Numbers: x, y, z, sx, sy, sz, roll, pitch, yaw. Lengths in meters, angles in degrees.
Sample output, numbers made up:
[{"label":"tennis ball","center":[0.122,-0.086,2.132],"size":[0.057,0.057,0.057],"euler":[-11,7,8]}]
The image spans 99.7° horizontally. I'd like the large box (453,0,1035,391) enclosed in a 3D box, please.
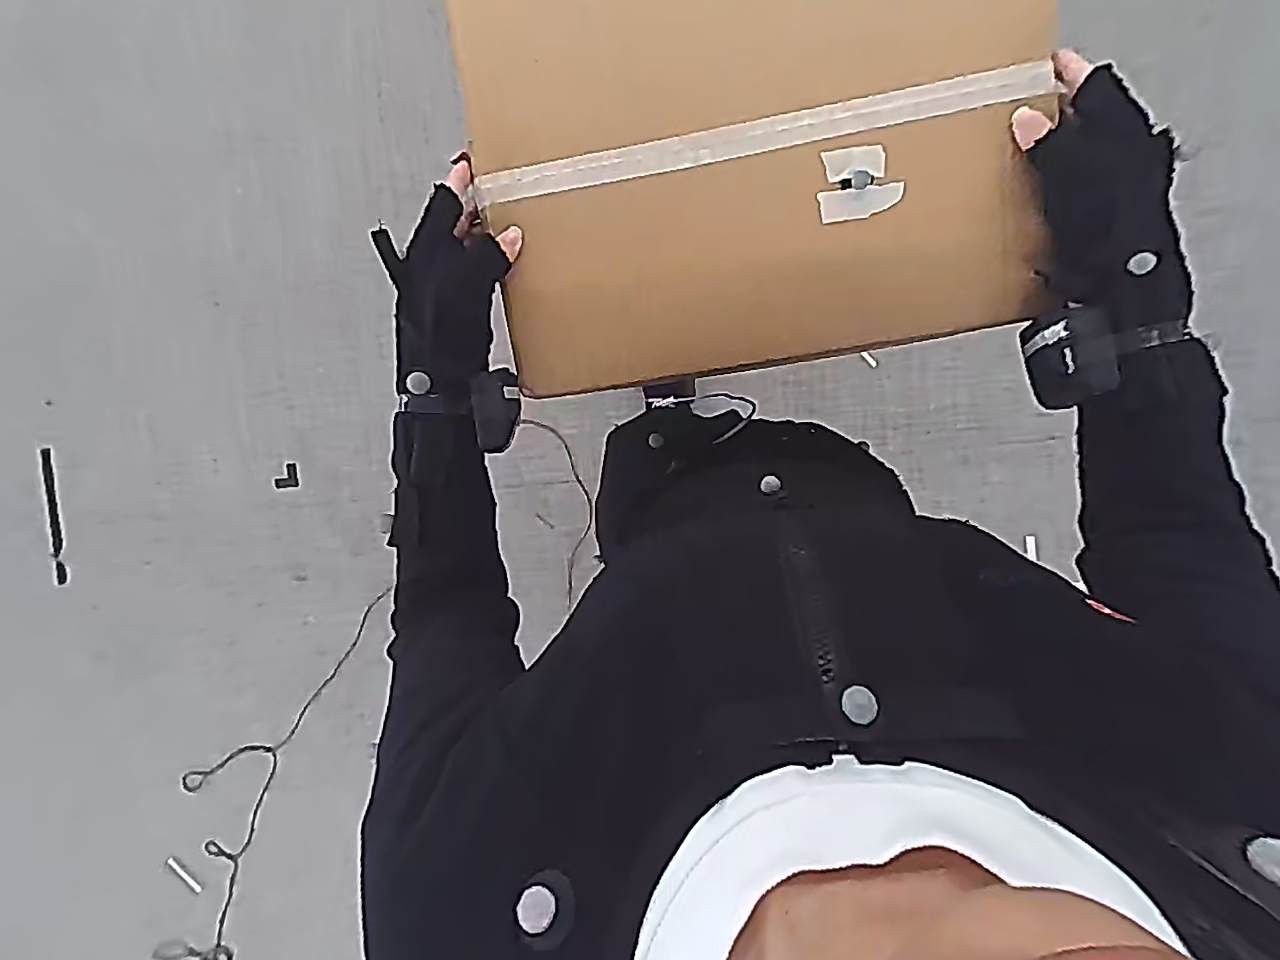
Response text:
[{"label":"large box","center":[0.087,-0.276,0.549],"size":[0.408,0.320,0.320],"euler":[-8,100,5]}]
